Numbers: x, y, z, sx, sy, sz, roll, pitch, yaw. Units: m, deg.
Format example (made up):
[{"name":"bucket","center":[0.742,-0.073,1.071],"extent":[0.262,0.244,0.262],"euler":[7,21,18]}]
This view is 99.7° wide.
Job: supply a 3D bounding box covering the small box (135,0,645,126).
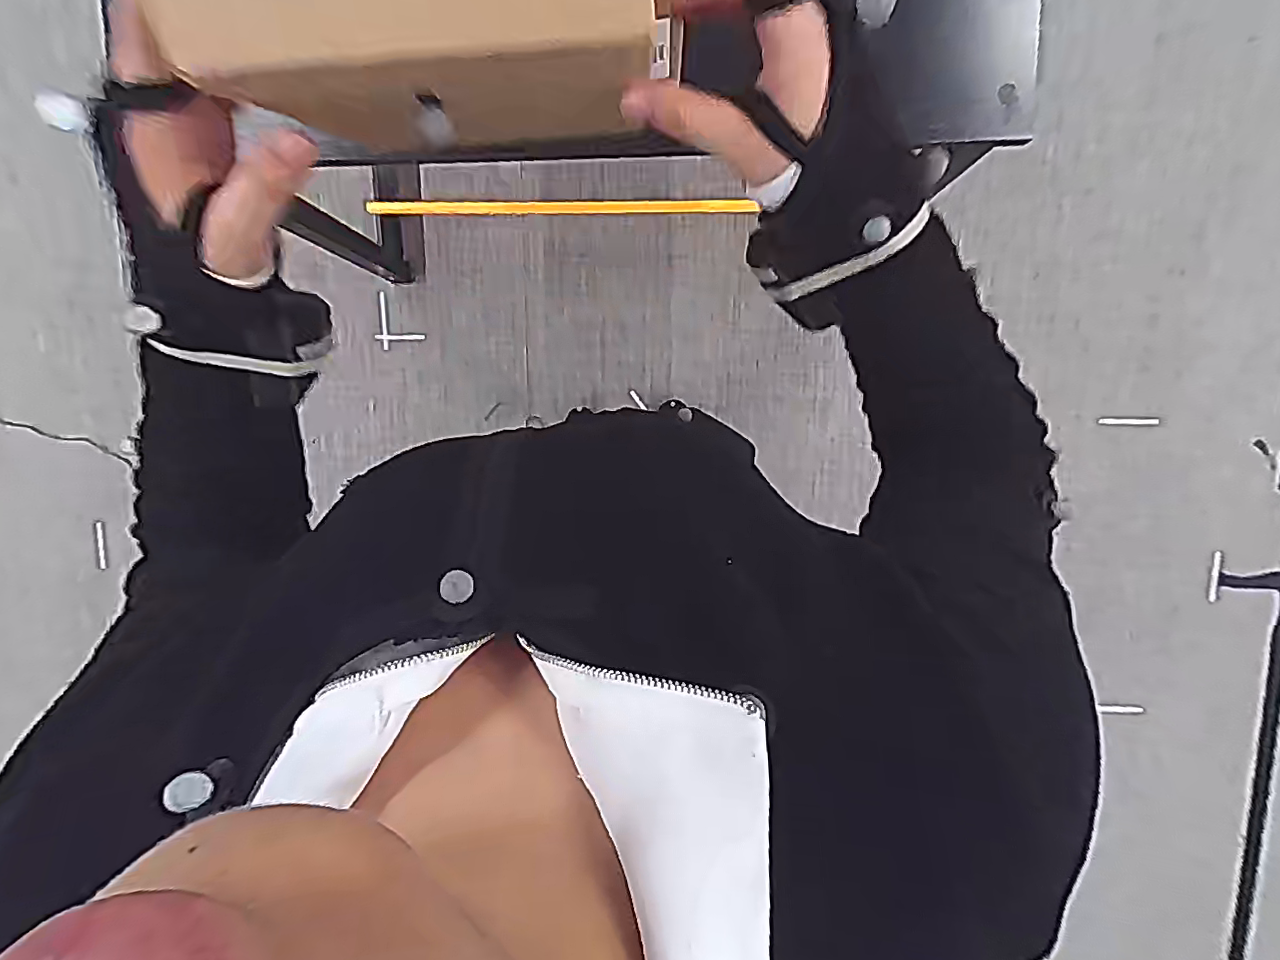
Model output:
[{"name":"small box","center":[-0.088,-0.262,0.226],"extent":[0.179,0.176,0.168],"euler":[-3,114,1]}]
